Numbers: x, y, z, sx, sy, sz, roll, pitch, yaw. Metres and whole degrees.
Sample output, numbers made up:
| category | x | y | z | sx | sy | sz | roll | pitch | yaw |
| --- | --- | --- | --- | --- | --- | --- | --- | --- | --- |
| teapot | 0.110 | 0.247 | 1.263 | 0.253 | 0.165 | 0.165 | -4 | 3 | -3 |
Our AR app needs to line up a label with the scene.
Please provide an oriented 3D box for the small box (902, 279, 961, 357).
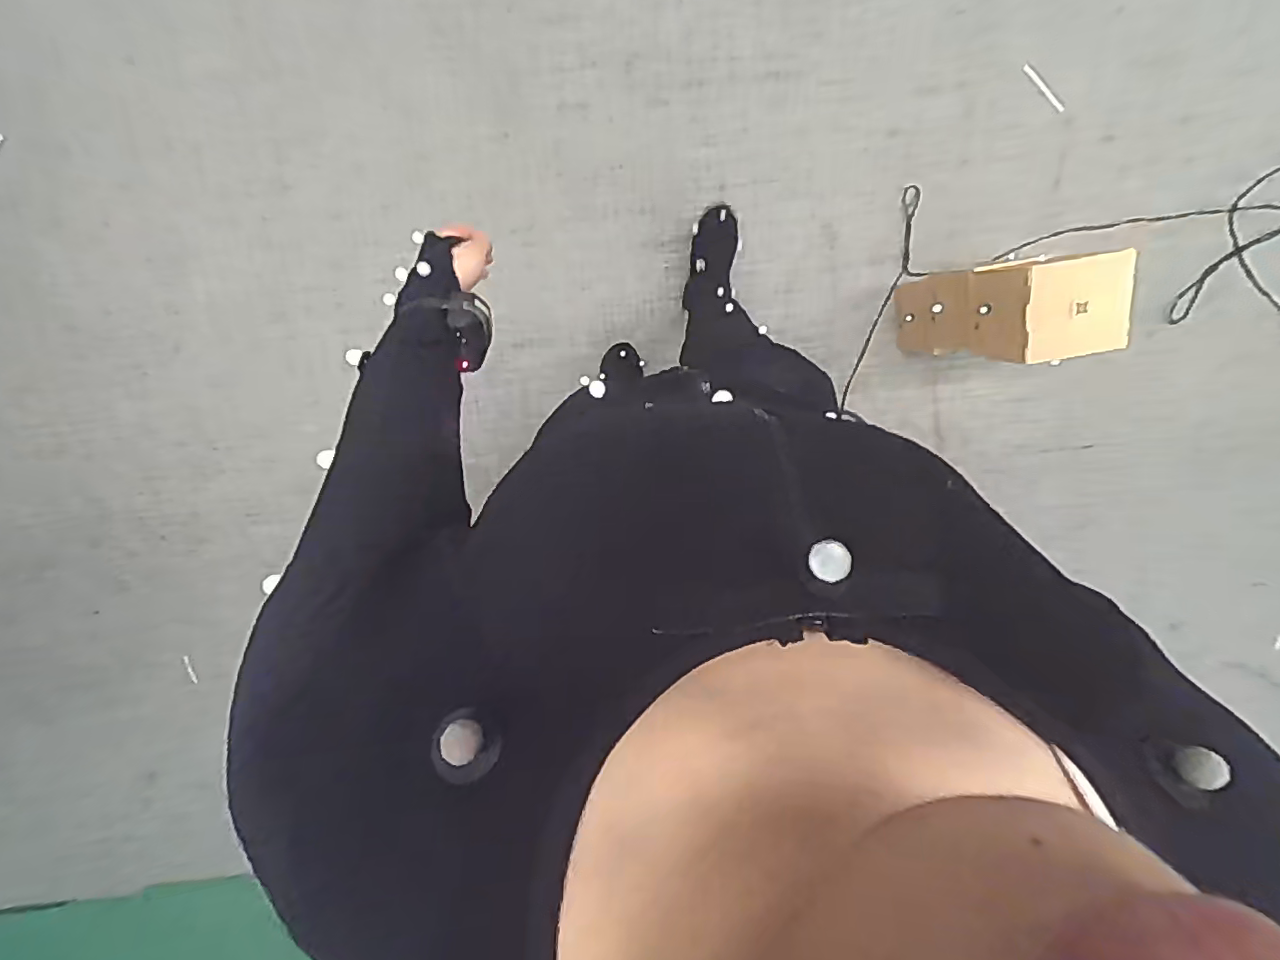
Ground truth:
| category | x | y | z | sx | sy | sz | roll | pitch | yaw |
| --- | --- | --- | --- | --- | --- | --- | --- | --- | --- |
| small box | 0.750 | -0.399 | 1.297 | 0.179 | 0.176 | 0.168 | -13 | 107 | 3 |

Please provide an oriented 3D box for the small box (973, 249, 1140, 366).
| category | x | y | z | sx | sy | sz | roll | pitch | yaw |
| --- | --- | --- | --- | --- | --- | --- | --- | --- | --- |
| small box | 0.743 | -0.312 | 0.983 | 0.179 | 0.176 | 0.168 | -10 | 107 | 4 |

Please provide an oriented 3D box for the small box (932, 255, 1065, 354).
| category | x | y | z | sx | sy | sz | roll | pitch | yaw |
| --- | --- | --- | --- | --- | --- | --- | --- | --- | --- |
| small box | 0.745 | -0.367 | 1.136 | 0.179 | 0.176 | 0.168 | -9 | 107 | 3 |
